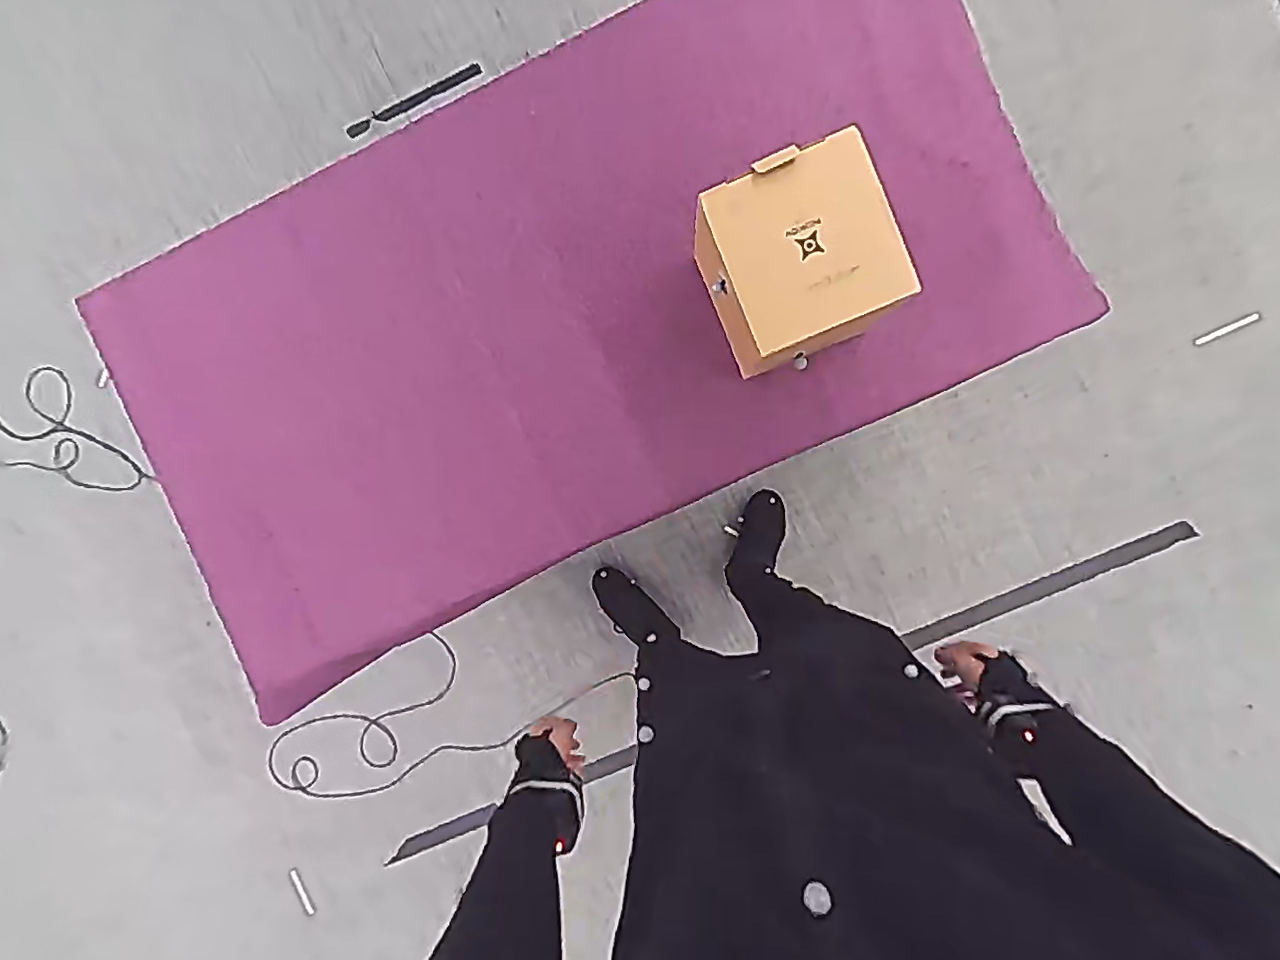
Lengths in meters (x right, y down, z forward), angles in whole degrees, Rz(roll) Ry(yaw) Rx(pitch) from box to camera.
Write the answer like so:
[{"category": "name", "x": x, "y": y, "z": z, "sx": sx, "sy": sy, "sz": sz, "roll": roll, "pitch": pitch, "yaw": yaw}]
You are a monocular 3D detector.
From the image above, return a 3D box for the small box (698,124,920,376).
[{"category": "small box", "x": 0.167, "y": -0.234, "z": 0.599, "sx": 0.168, "sy": 0.176, "sz": 0.179, "roll": -21, "pitch": 90, "yaw": 6}]
